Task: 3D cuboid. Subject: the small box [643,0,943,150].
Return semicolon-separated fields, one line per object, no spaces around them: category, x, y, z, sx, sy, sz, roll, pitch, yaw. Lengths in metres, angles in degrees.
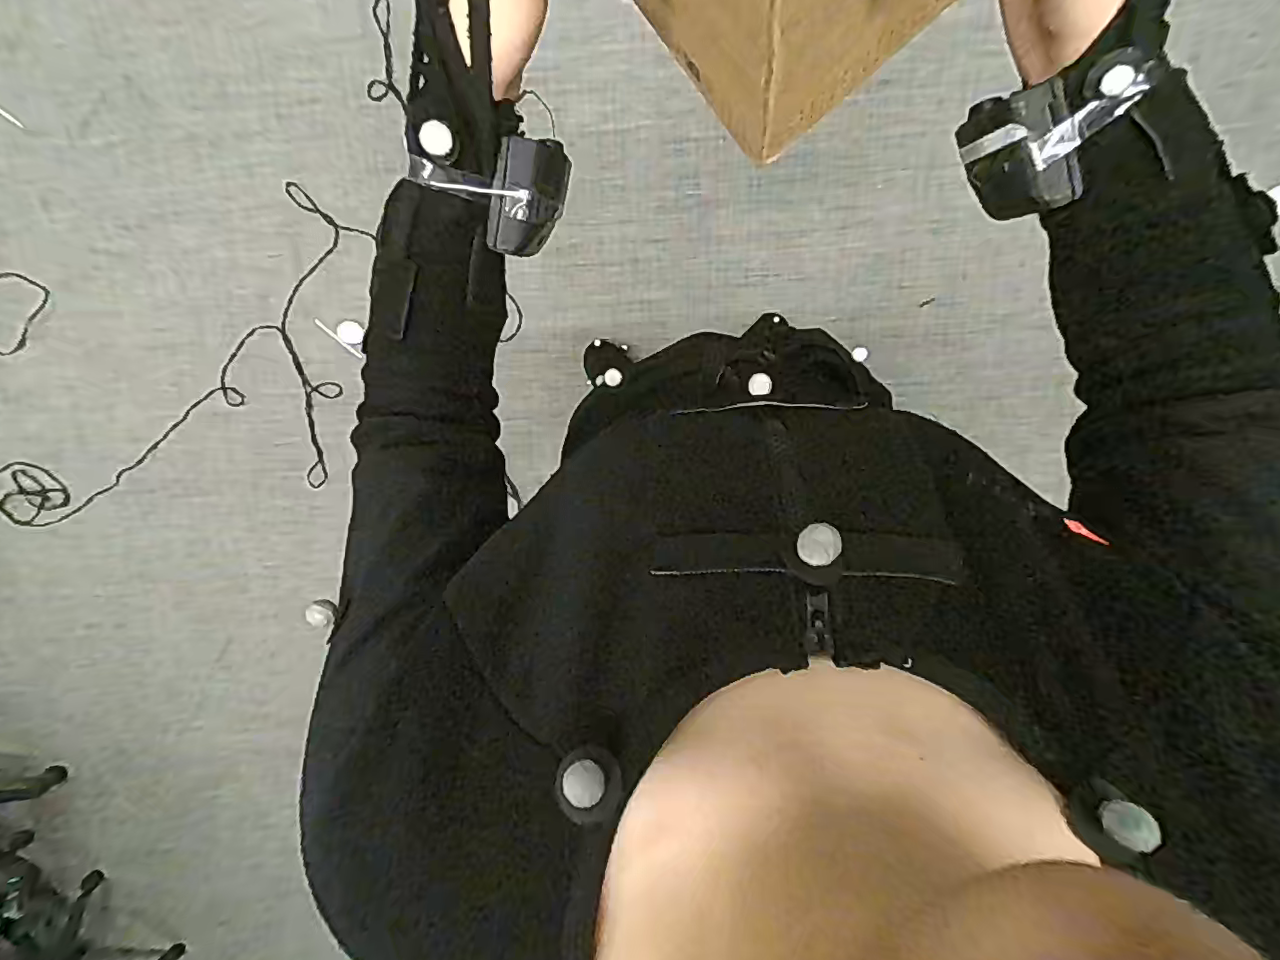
small box;0.068;-0.278;0.211;0.179;0.176;0.168;-38;92;16
